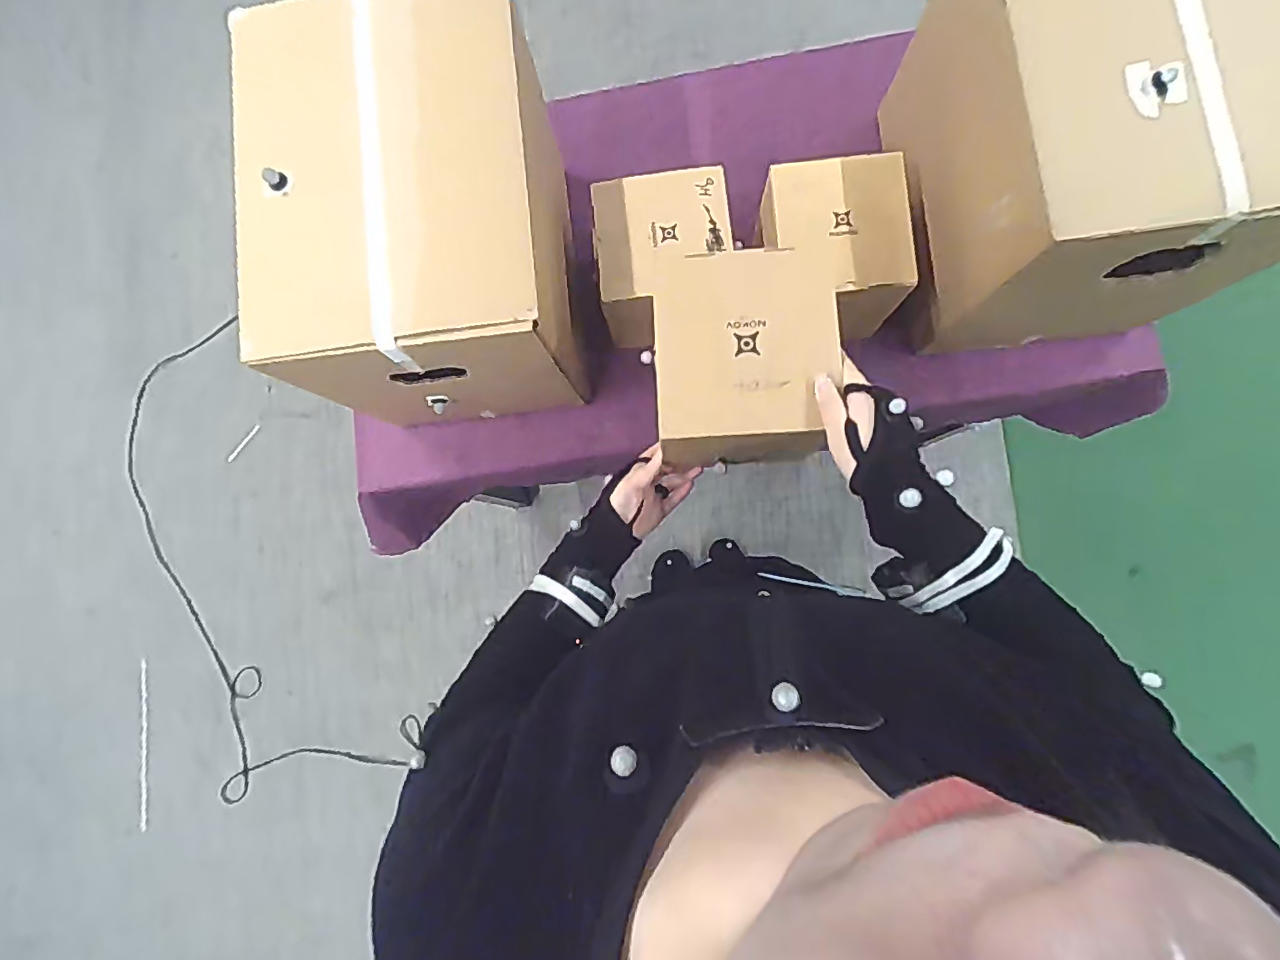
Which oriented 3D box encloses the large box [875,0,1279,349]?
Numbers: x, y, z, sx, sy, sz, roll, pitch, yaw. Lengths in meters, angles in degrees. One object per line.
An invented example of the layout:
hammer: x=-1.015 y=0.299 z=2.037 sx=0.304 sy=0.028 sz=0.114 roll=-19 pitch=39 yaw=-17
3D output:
large box: x=0.531 y=-0.421 z=0.680 sx=0.320 sy=0.320 sz=0.408 roll=-6 pitch=84 yaw=3
